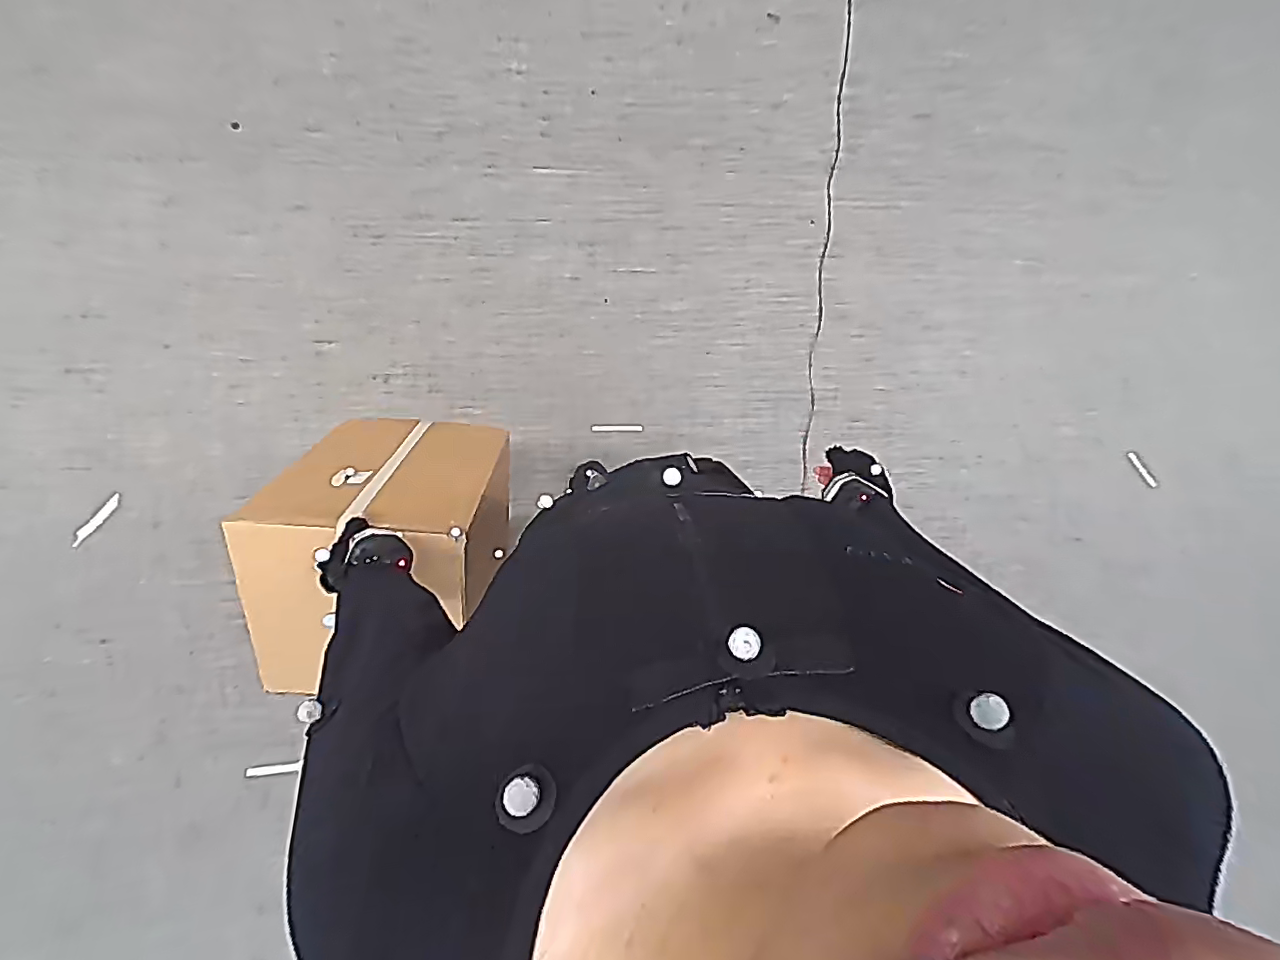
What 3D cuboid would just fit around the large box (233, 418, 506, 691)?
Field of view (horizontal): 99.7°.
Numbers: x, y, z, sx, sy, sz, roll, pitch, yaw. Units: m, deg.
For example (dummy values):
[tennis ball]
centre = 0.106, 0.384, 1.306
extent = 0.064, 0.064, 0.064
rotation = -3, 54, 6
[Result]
[large box]
centre = -0.428, 0.113, 0.979
extent = 0.320, 0.408, 0.320
rotation = 4, 117, -5
